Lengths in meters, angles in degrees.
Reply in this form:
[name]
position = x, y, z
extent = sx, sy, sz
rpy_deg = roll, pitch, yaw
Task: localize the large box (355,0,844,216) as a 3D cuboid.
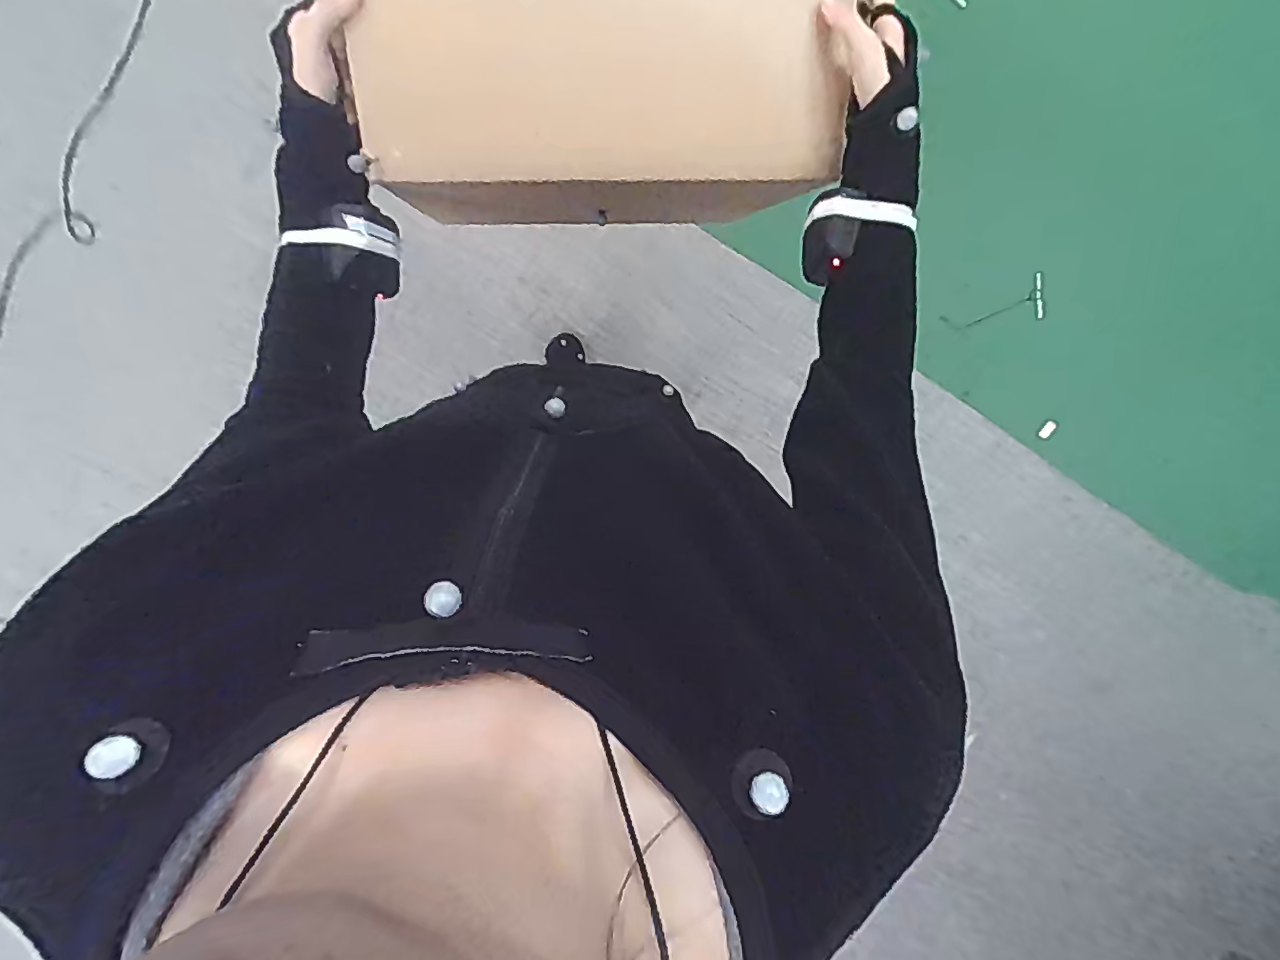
[large box]
position = -0.043, -0.458, 0.564
extent = 0.408, 0.320, 0.320
rpy_deg = -3, 110, -8
